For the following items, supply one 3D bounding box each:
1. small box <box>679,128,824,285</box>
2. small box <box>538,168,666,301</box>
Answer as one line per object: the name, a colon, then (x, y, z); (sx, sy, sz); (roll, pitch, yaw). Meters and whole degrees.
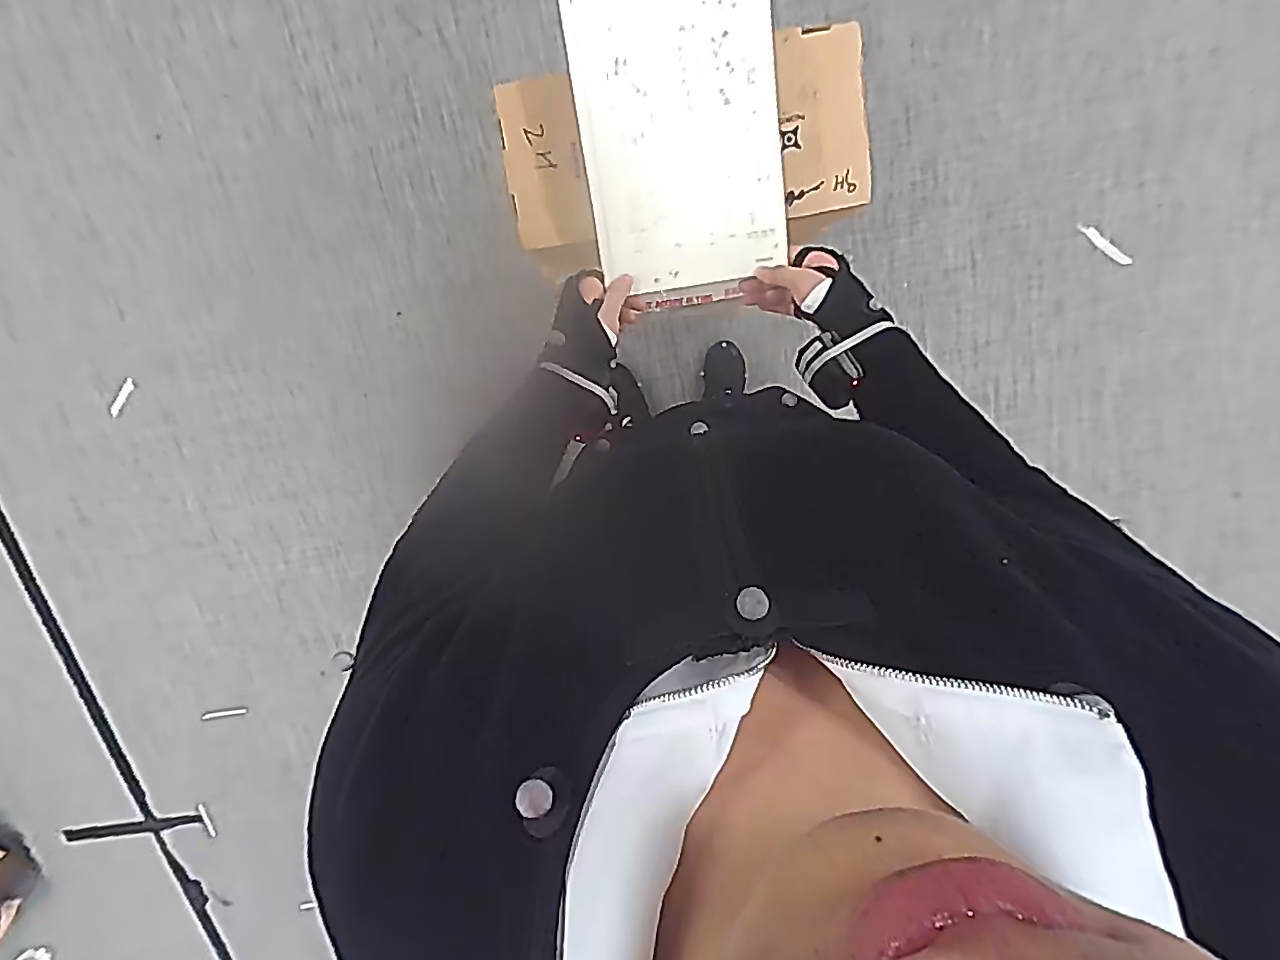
small box: (0.164, -0.407, 0.834); (0.179, 0.176, 0.168); (-11, 105, 3)
small box: (-0.050, -0.373, 0.848); (0.179, 0.176, 0.168); (-2, 106, 4)
